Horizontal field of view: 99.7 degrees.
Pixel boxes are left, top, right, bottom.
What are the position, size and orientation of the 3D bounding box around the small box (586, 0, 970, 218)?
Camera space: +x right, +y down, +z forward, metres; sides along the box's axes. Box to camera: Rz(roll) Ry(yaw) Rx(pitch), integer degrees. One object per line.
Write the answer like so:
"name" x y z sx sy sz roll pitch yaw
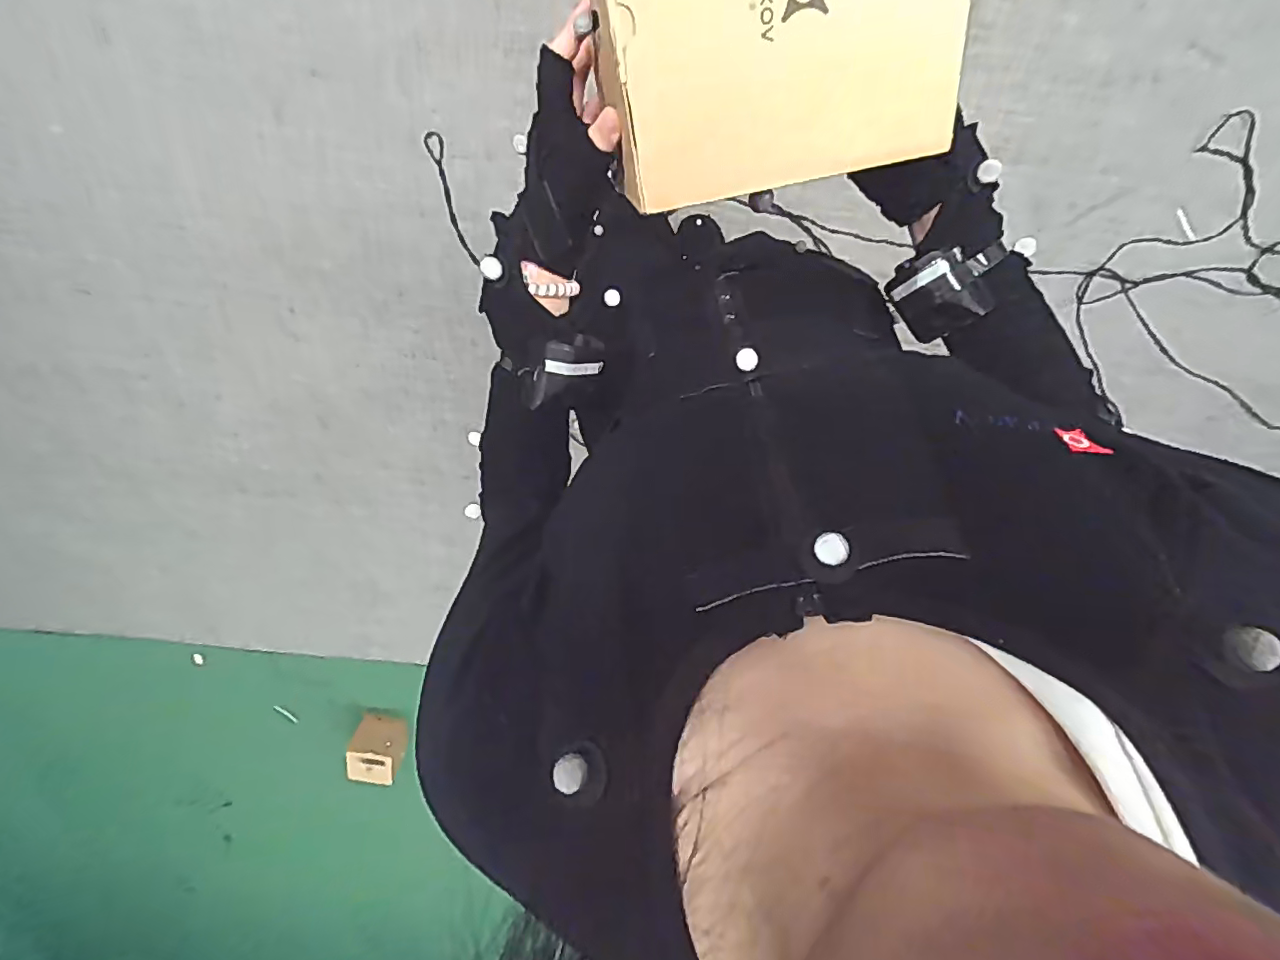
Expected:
"small box" 0.063 -0.270 0.316 0.179 0.176 0.168 -11 124 1
